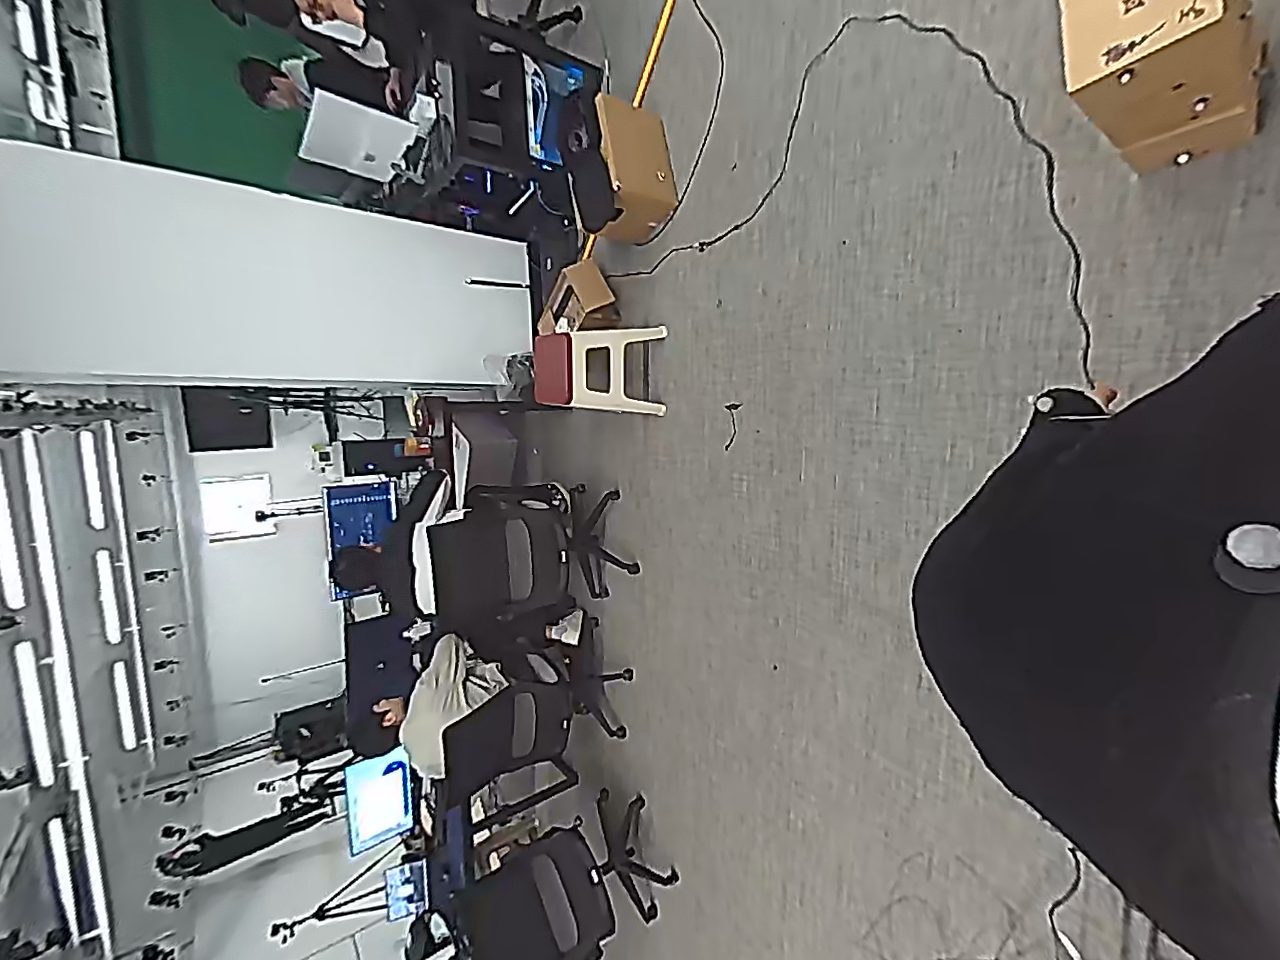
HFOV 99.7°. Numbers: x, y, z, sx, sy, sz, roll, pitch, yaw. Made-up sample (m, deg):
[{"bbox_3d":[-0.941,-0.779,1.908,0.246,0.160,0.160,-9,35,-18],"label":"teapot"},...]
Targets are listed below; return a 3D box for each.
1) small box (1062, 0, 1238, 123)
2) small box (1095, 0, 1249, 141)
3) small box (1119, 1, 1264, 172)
[{"bbox_3d":[0.753,-0.681,0.801,0.168,0.176,0.179,-4,91,53],"label":"small box"},{"bbox_3d":[0.884,-0.699,0.900,0.168,0.176,0.179,0,93,52],"label":"small box"},{"bbox_3d":[1.014,-0.706,0.996,0.168,0.176,0.179,5,100,53],"label":"small box"}]
